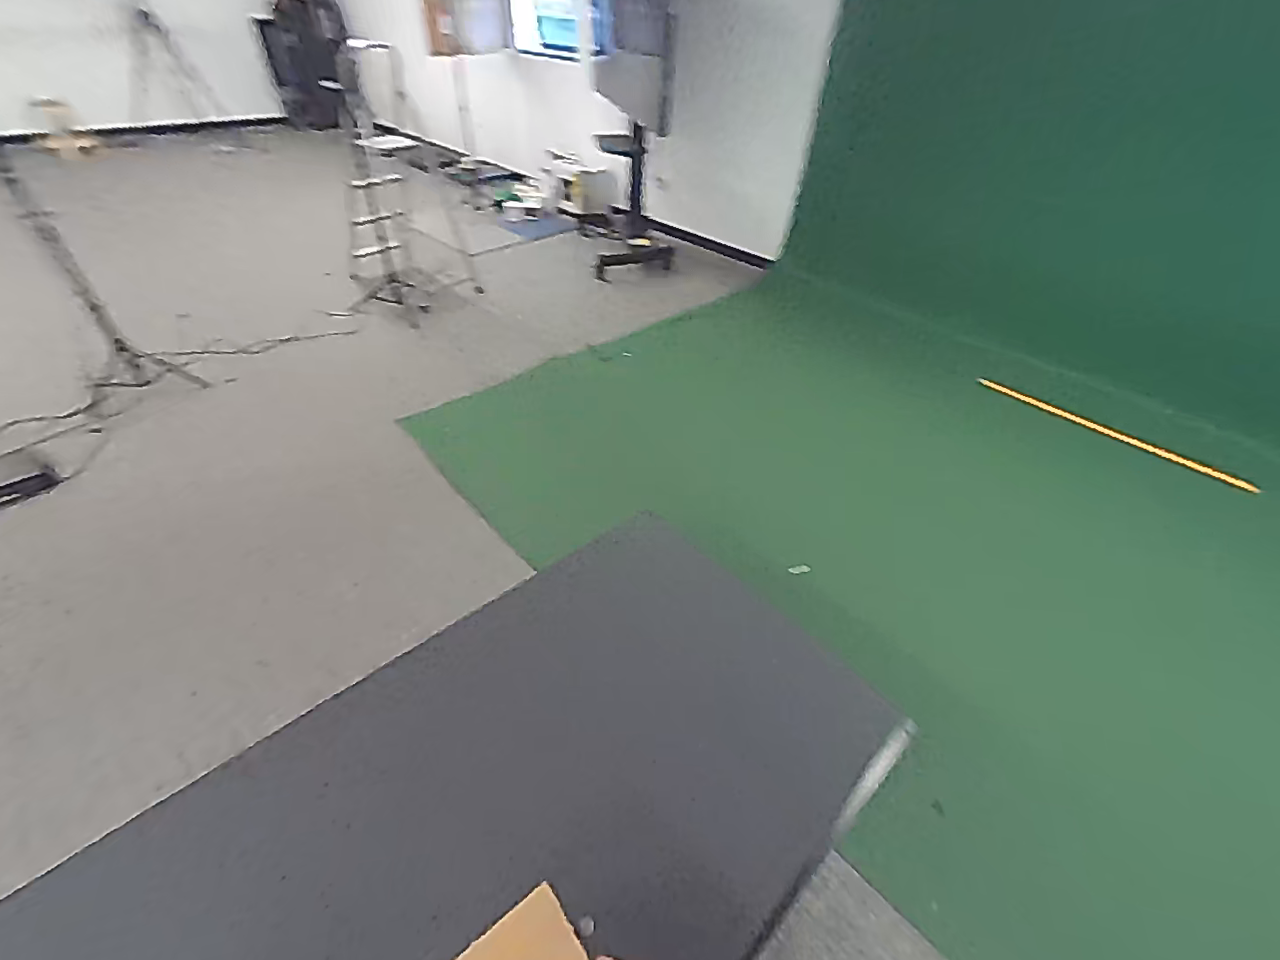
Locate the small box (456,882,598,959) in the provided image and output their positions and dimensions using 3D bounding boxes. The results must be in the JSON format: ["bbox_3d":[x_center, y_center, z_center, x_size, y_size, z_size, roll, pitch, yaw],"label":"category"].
[{"bbox_3d":[-0.093,0.487,0.444,0.168,0.176,0.179,-26,53,-27],"label":"small box"}]
